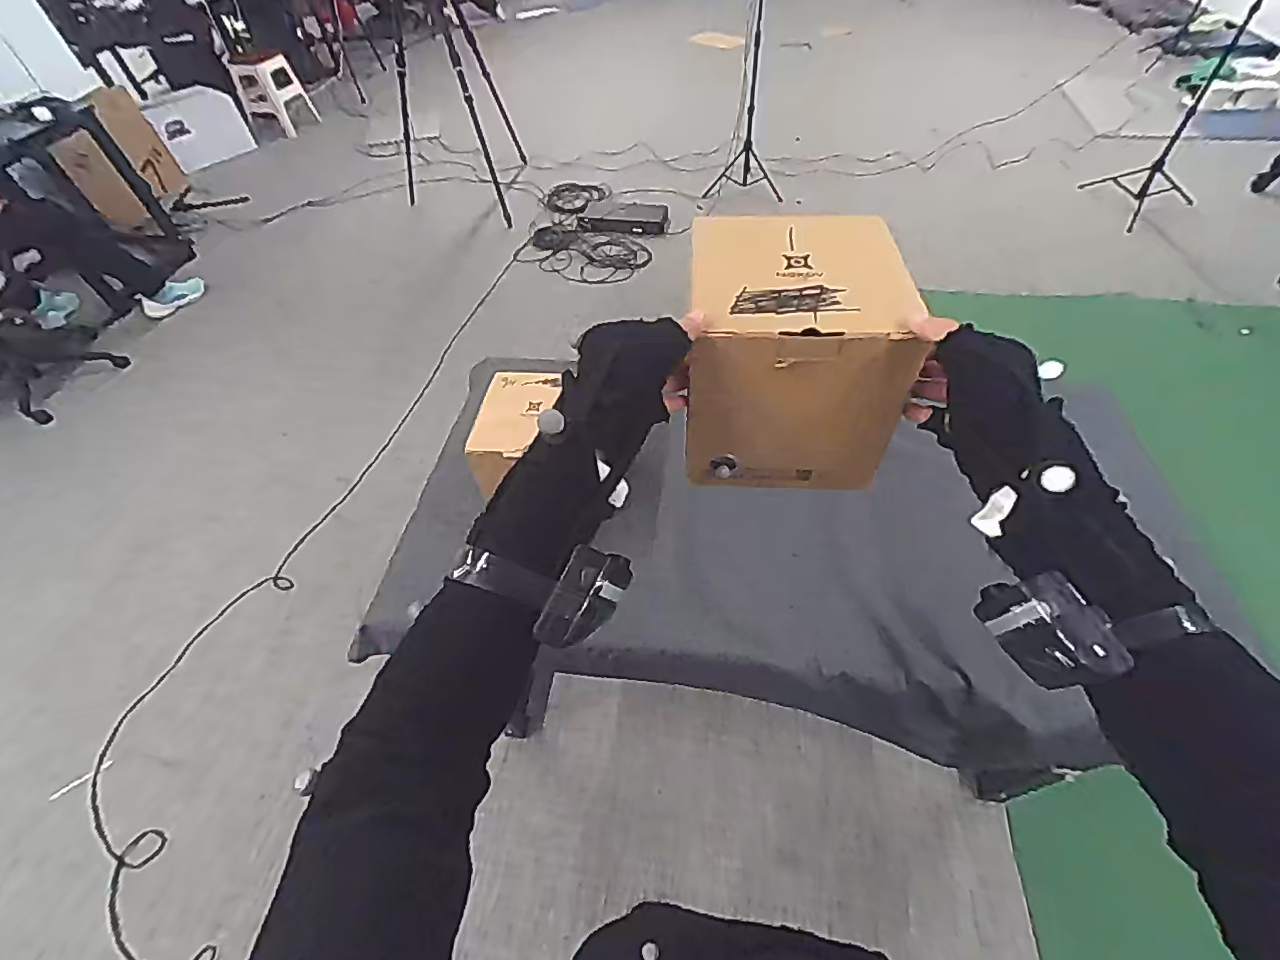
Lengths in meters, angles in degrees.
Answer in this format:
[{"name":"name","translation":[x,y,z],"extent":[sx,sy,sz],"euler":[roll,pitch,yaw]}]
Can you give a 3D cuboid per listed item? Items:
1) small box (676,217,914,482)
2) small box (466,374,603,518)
[{"name":"small box","translation":[0.119,-0.113,0.489],"extent":[0.168,0.176,0.179],"euler":[1,50,5]},{"name":"small box","translation":[-0.159,-0.052,0.890],"extent":[0.168,0.176,0.179],"euler":[3,52,7]}]
